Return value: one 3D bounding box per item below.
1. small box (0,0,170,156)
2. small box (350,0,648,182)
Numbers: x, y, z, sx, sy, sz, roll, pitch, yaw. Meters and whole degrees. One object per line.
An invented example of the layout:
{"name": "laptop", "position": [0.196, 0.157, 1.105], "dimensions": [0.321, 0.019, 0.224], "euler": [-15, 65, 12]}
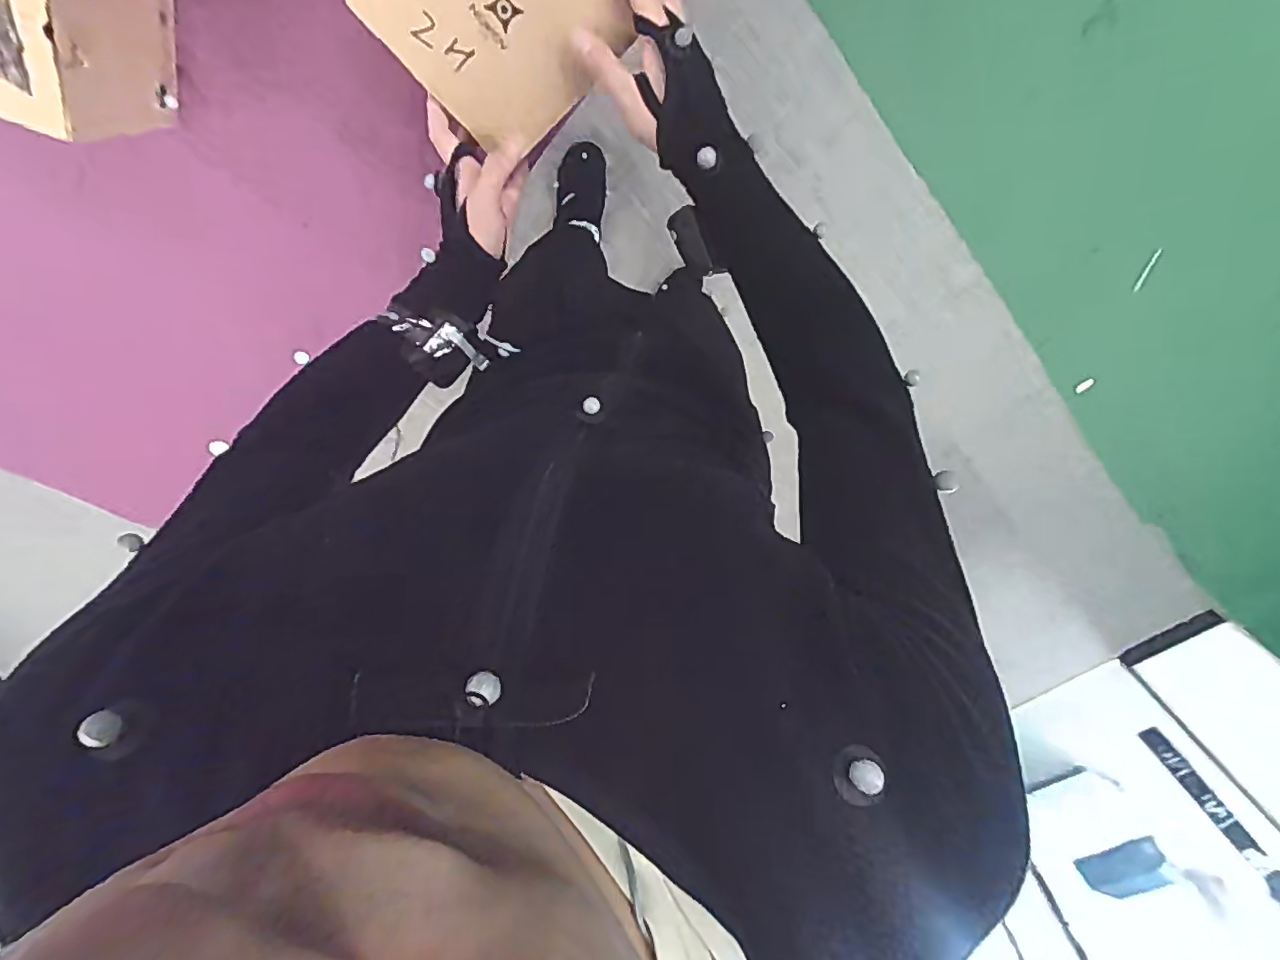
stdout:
{"name": "small box", "position": [-0.565, -0.424, 0.484], "dimensions": [0.179, 0.176, 0.168], "euler": [16, 124, -17]}
{"name": "small box", "position": [-0.111, -0.419, 0.476], "dimensions": [0.179, 0.176, 0.168], "euler": [-26, 134, 29]}
